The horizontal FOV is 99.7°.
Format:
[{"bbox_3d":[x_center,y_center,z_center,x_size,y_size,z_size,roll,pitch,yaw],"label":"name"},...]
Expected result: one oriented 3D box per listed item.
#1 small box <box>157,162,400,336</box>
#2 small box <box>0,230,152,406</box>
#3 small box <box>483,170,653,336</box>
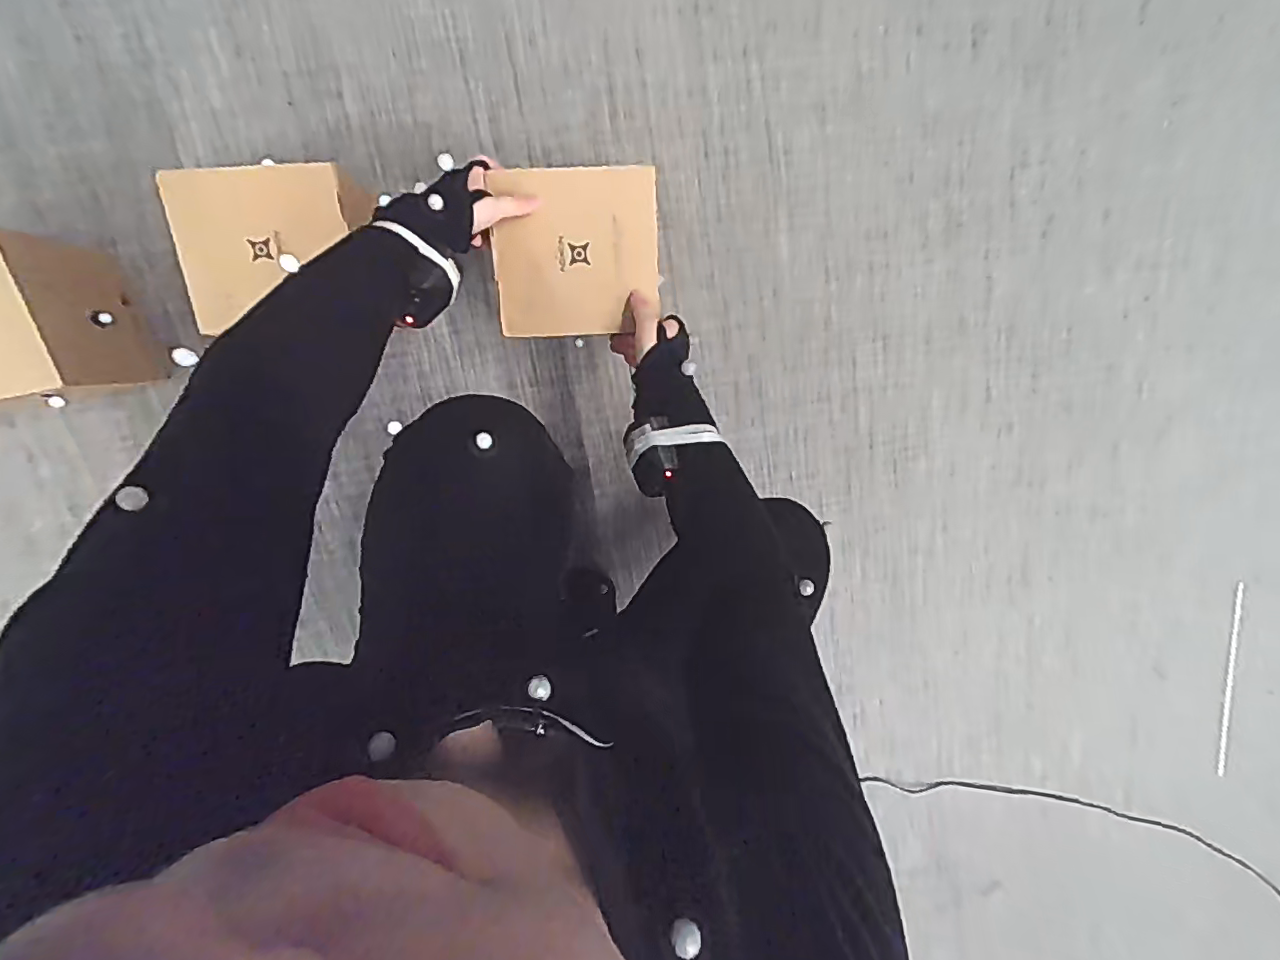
[{"bbox_3d":[-0.418,-0.269,0.661,0.179,0.176,0.168,-7,104,-8],"label":"small box"},{"bbox_3d":[-0.730,-0.180,0.631,0.179,0.176,0.168,-13,105,-6],"label":"small box"},{"bbox_3d":[-0.076,-0.259,0.650,0.179,0.176,0.168,-2,106,-2],"label":"small box"}]
